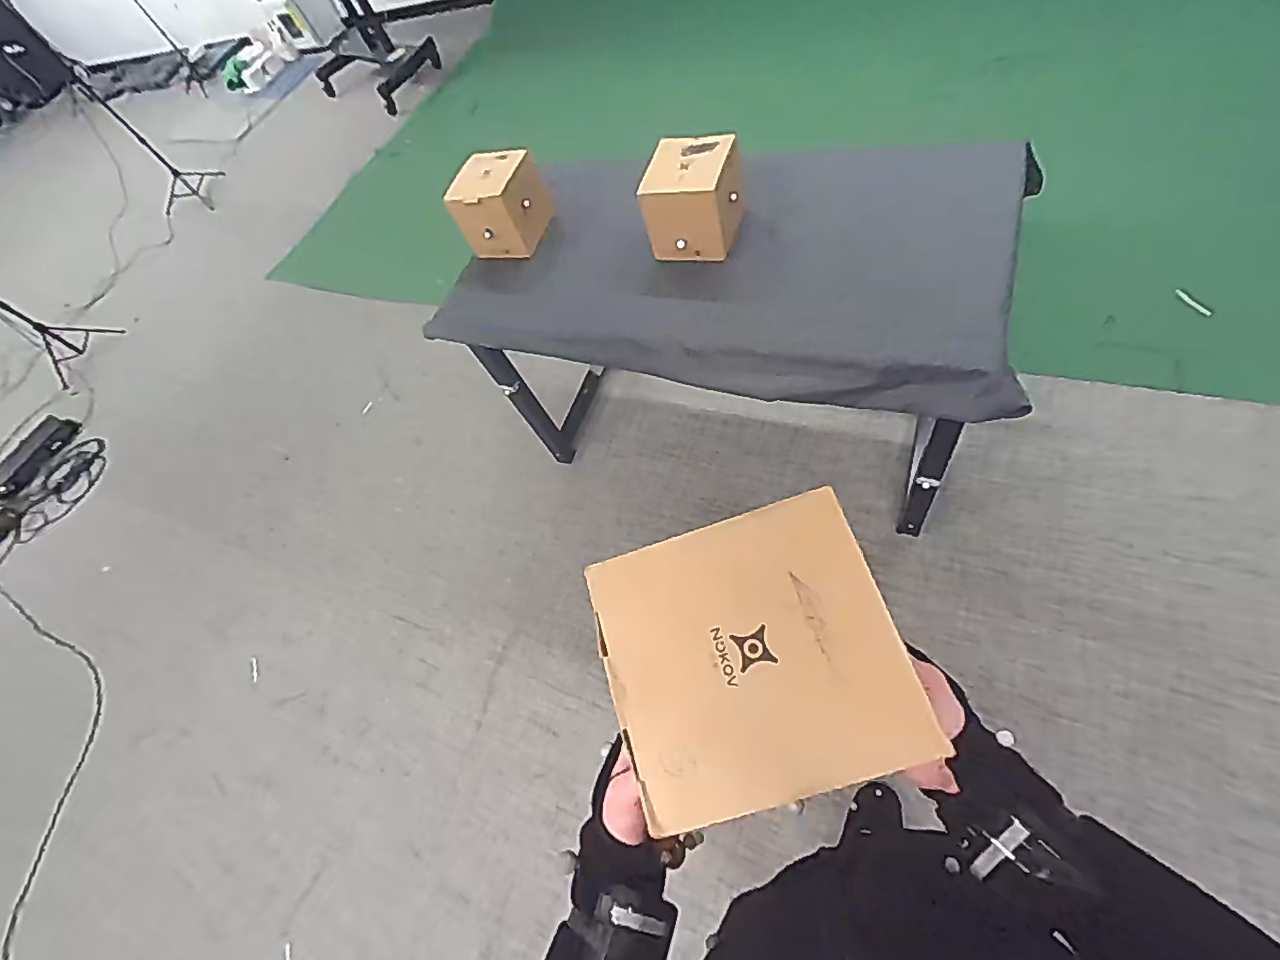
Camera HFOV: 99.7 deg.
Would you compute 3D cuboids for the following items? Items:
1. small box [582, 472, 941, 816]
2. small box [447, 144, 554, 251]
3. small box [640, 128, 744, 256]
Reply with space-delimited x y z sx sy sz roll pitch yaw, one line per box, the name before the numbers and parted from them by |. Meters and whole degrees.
small box | 0.078 0.120 0.403 0.179 0.176 0.168 -19 69 4
small box | -0.336 -0.691 1.340 0.168 0.176 0.179 9 66 21
small box | 0.119 -0.608 1.150 0.168 0.176 0.179 11 67 23
